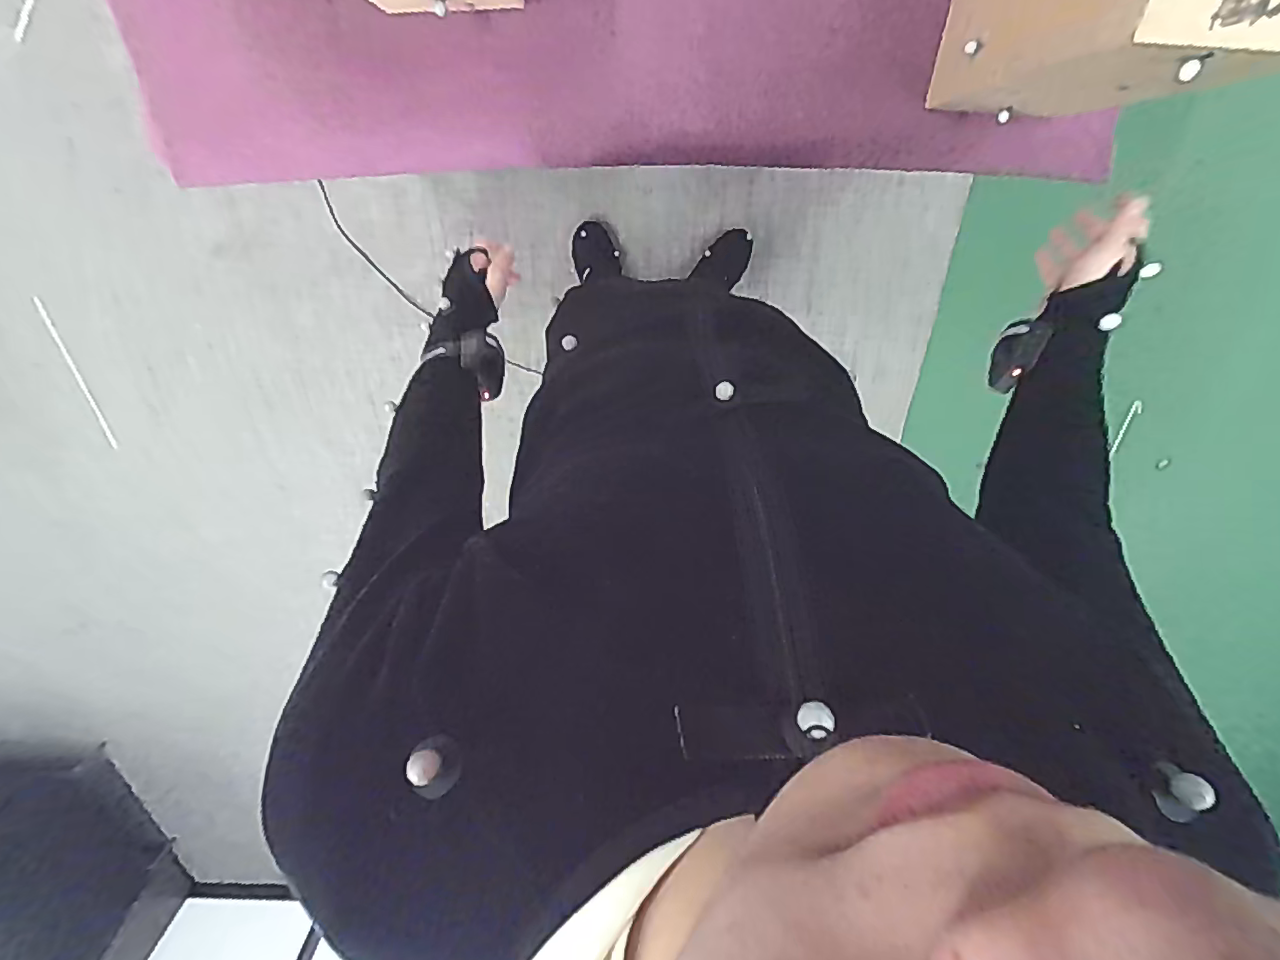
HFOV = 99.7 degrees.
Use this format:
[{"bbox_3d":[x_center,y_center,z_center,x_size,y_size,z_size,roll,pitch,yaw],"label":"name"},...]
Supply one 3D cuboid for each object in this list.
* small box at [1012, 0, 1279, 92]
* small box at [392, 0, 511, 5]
[{"bbox_3d":[0.425,-0.414,0.402,0.168,0.176,0.179,5,118,1],"label":"small box"},{"bbox_3d":[-0.220,-0.591,0.516,0.168,0.176,0.179,0,119,2],"label":"small box"}]
